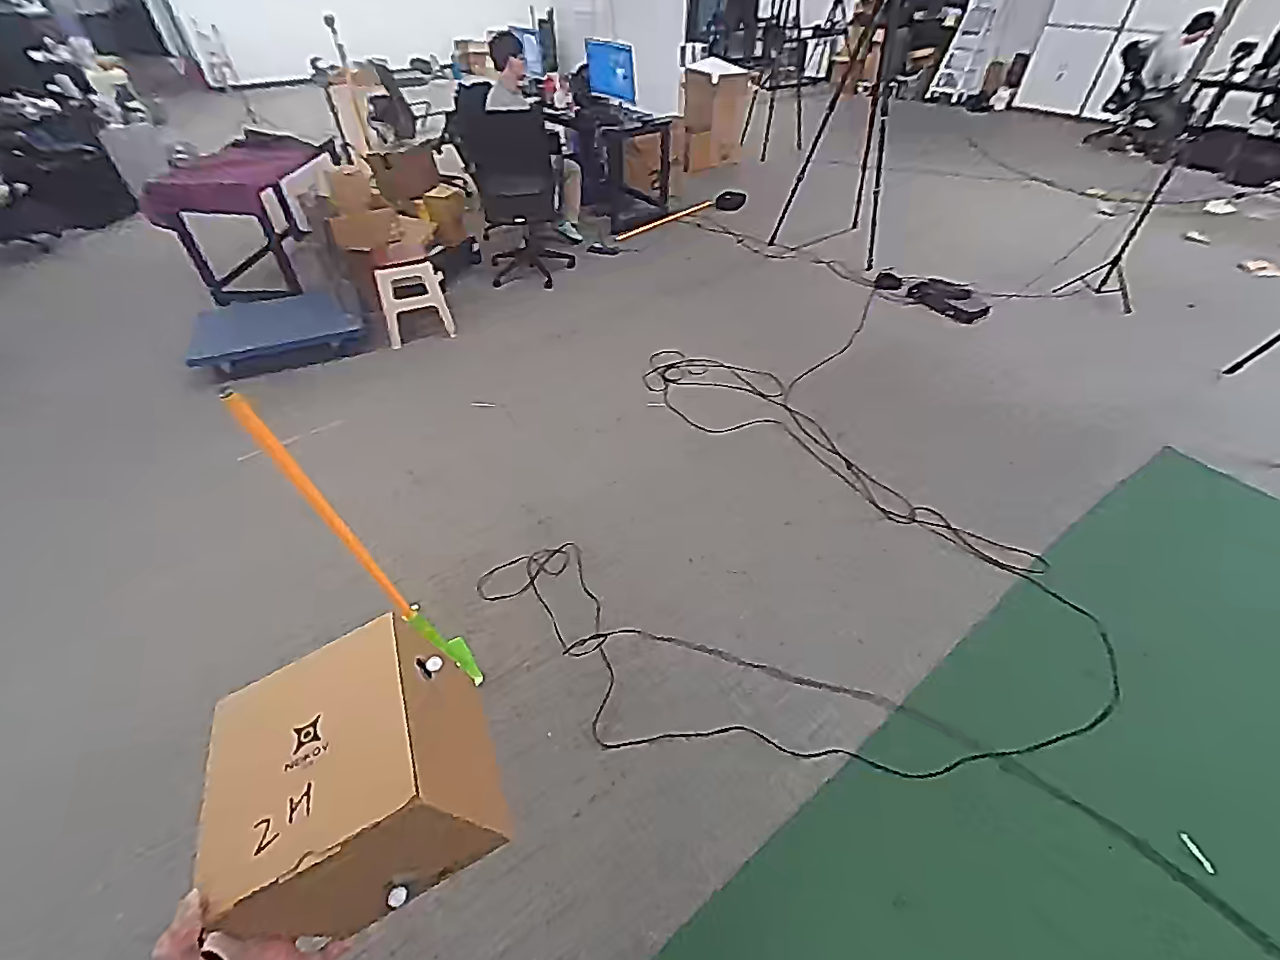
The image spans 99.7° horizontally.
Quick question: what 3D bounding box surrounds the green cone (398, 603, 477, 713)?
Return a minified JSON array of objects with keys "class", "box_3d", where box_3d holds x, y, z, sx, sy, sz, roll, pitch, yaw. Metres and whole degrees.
[{"class":"green cone","box_3d":[-0.635,0.482,1.581,0.202,0.368,0.200,-26,50,-26]}]
